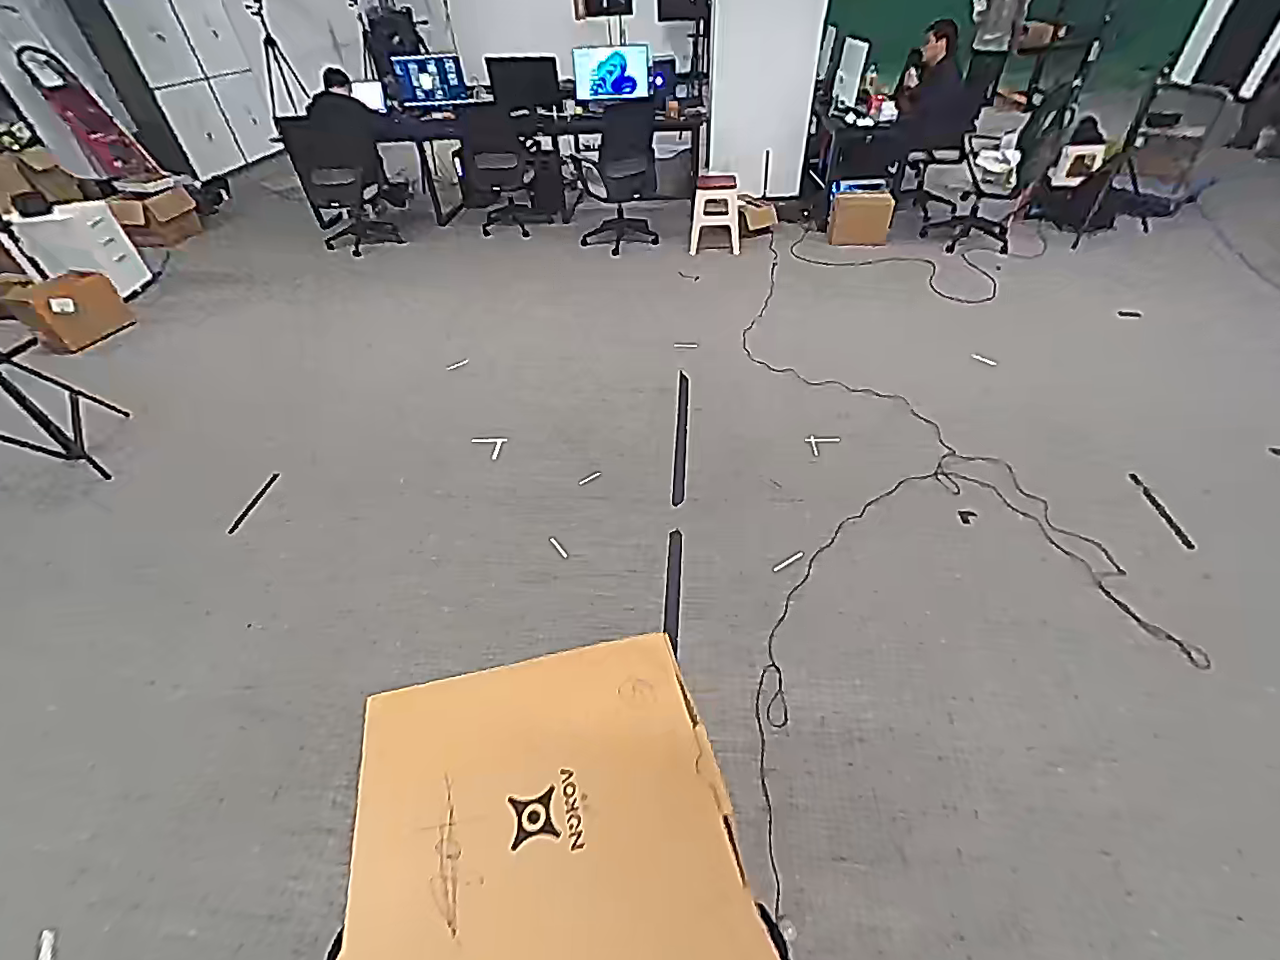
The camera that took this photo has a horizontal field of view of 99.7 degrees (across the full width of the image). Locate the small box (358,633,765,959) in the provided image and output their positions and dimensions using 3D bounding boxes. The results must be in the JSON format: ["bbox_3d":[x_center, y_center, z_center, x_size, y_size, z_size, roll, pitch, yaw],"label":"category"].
[{"bbox_3d":[-0.049,0.224,0.329,0.179,0.176,0.168,-10,44,-11],"label":"small box"}]
